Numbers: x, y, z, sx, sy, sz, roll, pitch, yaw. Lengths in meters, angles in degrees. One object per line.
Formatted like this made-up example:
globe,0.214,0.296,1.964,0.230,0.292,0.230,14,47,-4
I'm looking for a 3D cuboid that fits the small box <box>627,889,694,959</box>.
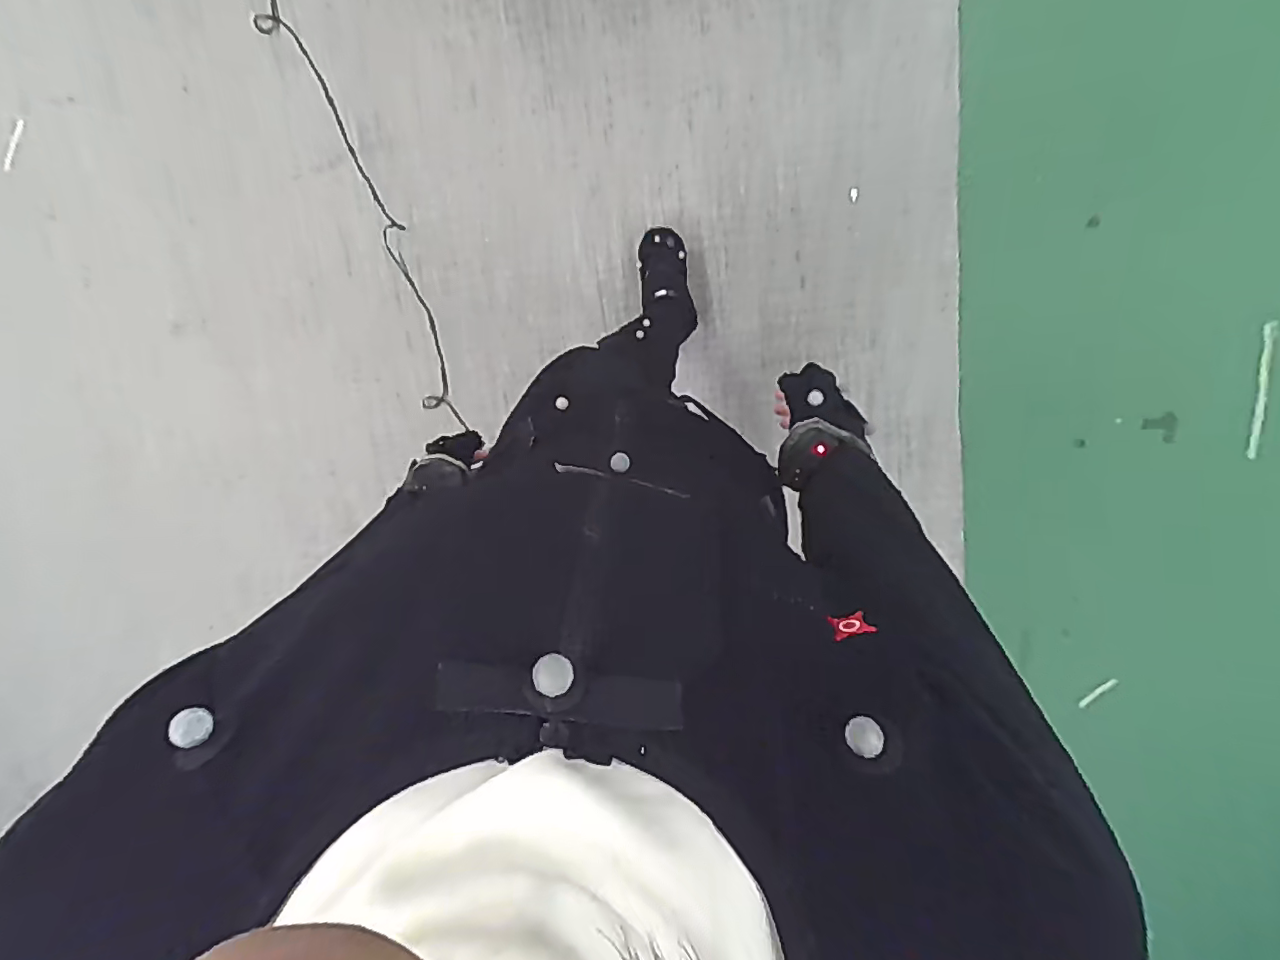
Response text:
small box,0.062,1.287,1.505,0.168,0.176,0.179,-6,103,5
